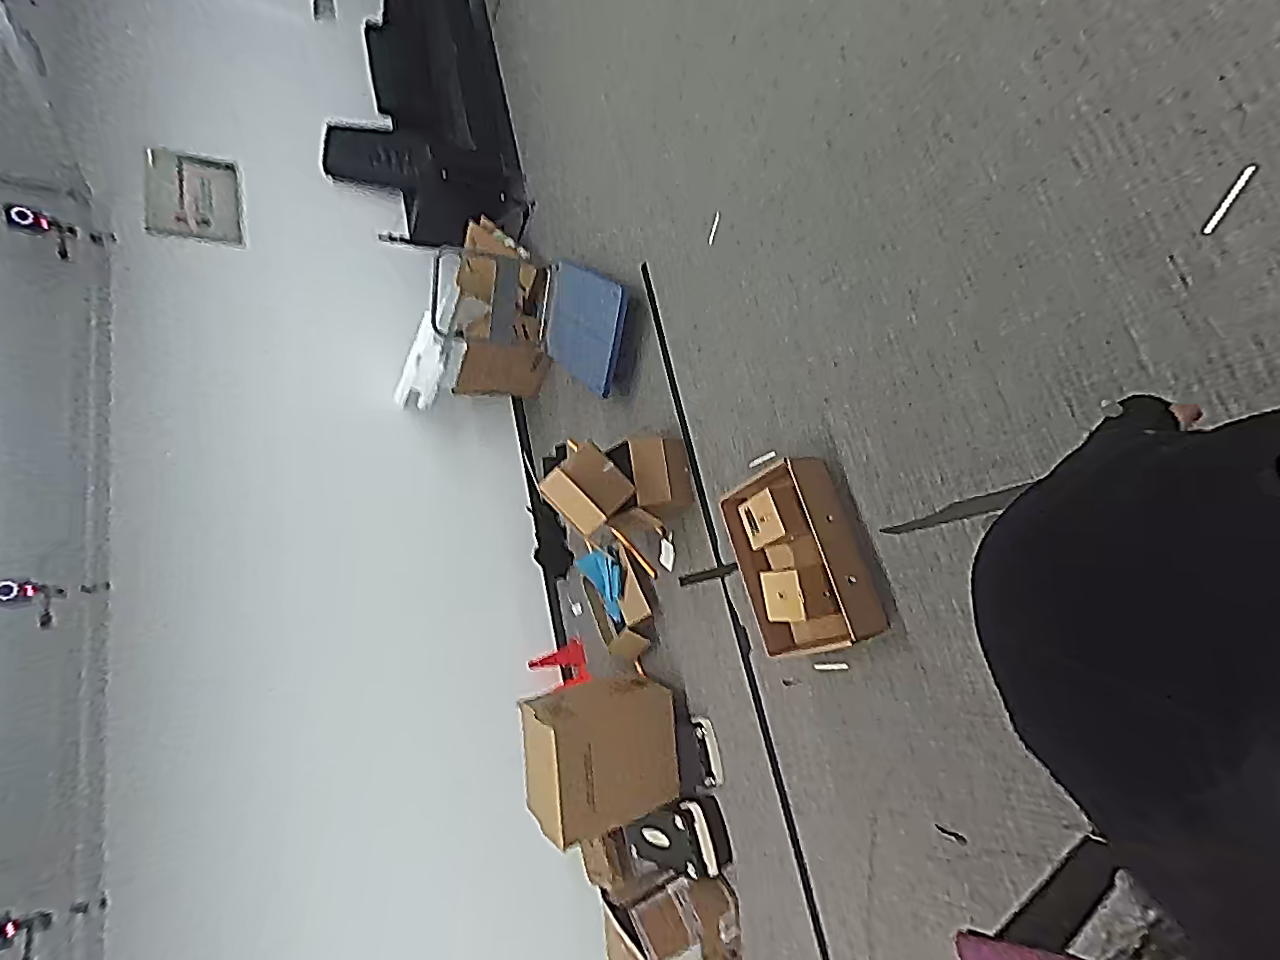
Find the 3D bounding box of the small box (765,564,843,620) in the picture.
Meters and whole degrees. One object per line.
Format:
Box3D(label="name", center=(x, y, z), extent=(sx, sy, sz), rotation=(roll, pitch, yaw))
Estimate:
Box3D(label="small box", center=(0.557, 0.381, 1.841), extent=(0.179, 0.176, 0.168), rotation=(-24, 72, 57))
